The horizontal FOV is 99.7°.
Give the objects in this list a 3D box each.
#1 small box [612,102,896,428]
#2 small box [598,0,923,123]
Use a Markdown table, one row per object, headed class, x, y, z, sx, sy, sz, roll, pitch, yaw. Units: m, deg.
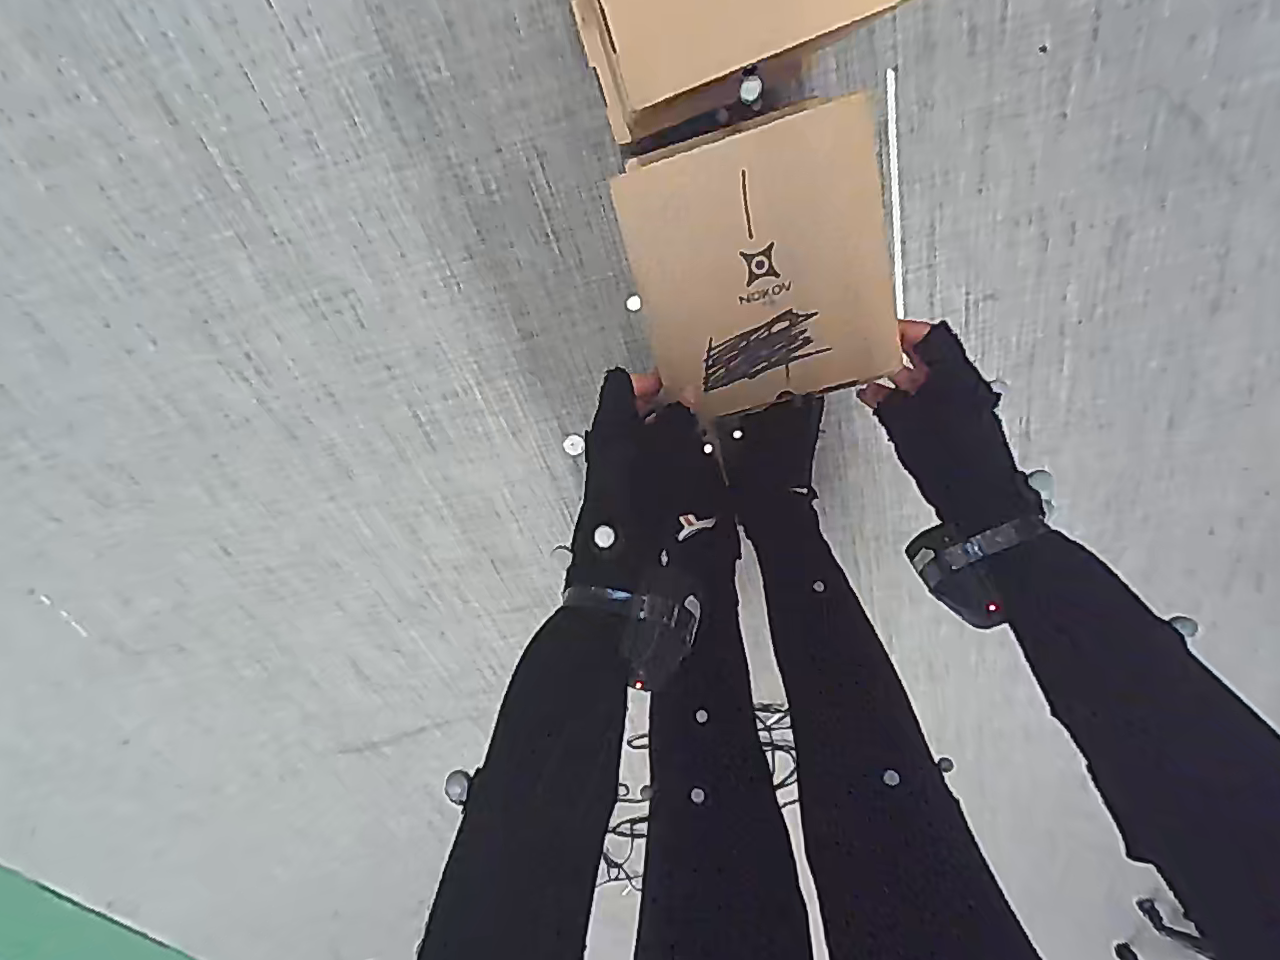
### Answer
| class | x | y | z | sx | sy | sz | roll | pitch | yaw |
| --- | --- | --- | --- | --- | --- | --- | --- | --- | --- |
| small box | 0.088 | -0.162 | 0.441 | 0.168 | 0.176 | 0.179 | -14 | 108 | 9 |
| small box | 0.054 | -0.352 | 0.345 | 0.179 | 0.176 | 0.168 | -16 | 120 | 10 |
